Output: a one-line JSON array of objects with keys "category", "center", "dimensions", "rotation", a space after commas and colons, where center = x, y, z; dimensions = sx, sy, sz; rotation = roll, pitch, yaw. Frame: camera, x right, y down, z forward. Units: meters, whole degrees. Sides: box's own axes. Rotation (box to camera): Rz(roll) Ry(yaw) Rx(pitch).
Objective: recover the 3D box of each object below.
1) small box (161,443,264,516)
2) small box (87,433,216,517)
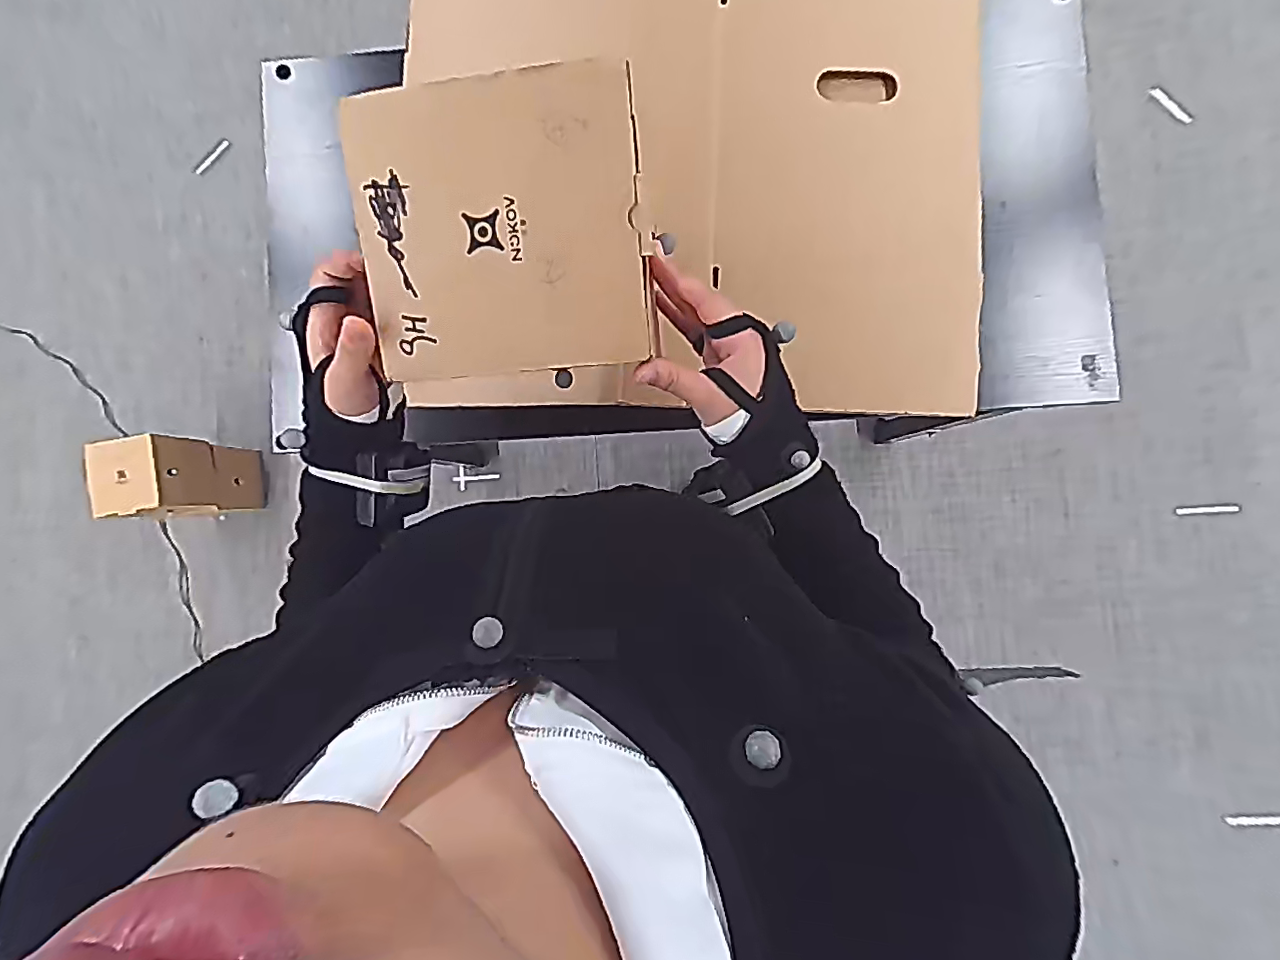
[{"category": "small box", "center": [-1.179, 0.003, 1.492], "dimensions": [0.168, 0.176, 0.179], "rotation": [-7, 88, 3]}, {"category": "small box", "center": [-1.189, -0.010, 1.330], "dimensions": [0.168, 0.176, 0.179], "rotation": [-10, 87, 2]}]
